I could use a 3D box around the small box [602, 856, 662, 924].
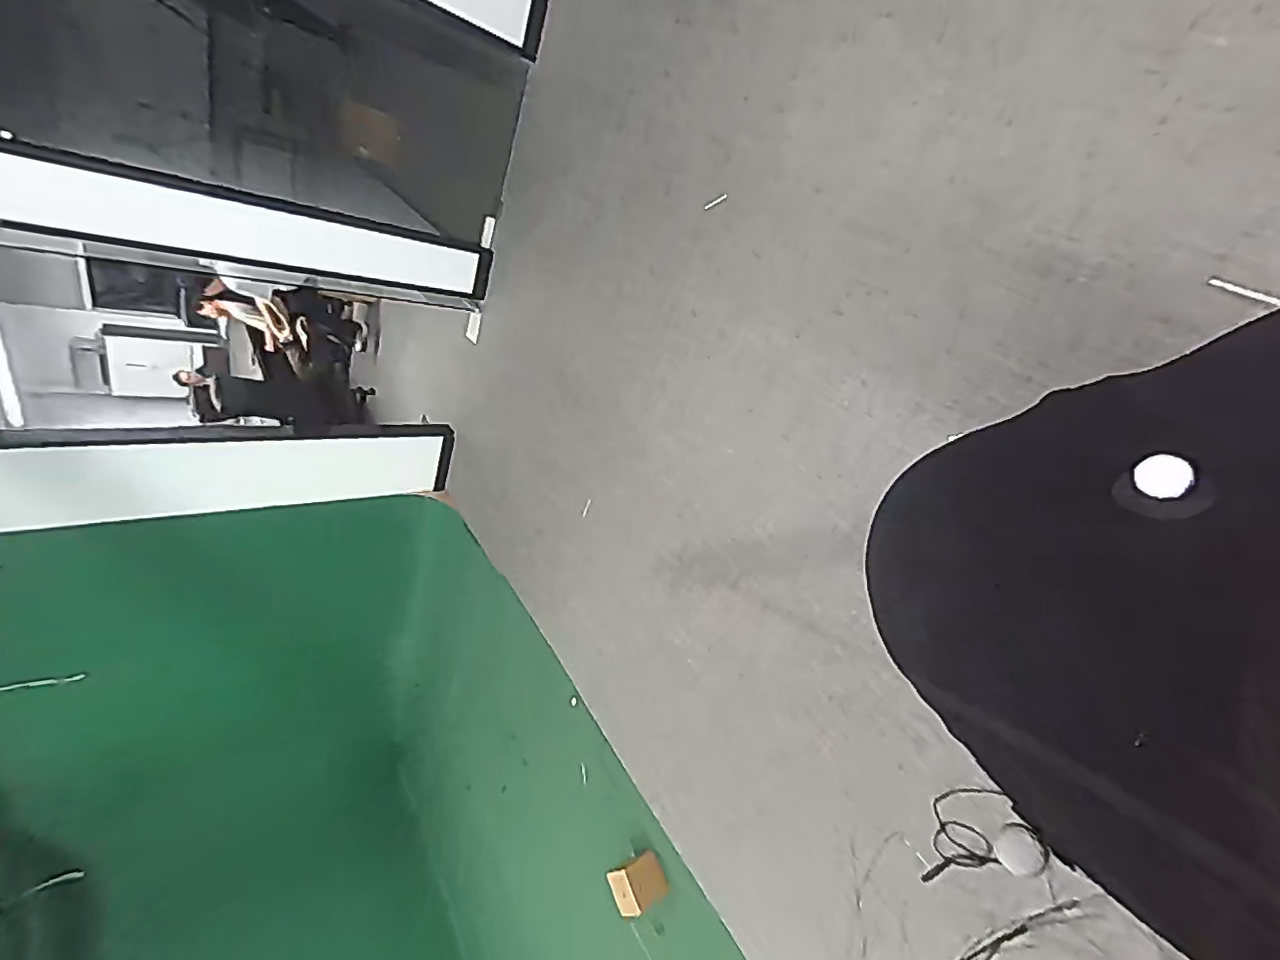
[{"bbox_3d":[-0.033,1.787,2.358,0.168,0.176,0.179,-47,60,39],"label":"small box"}]
